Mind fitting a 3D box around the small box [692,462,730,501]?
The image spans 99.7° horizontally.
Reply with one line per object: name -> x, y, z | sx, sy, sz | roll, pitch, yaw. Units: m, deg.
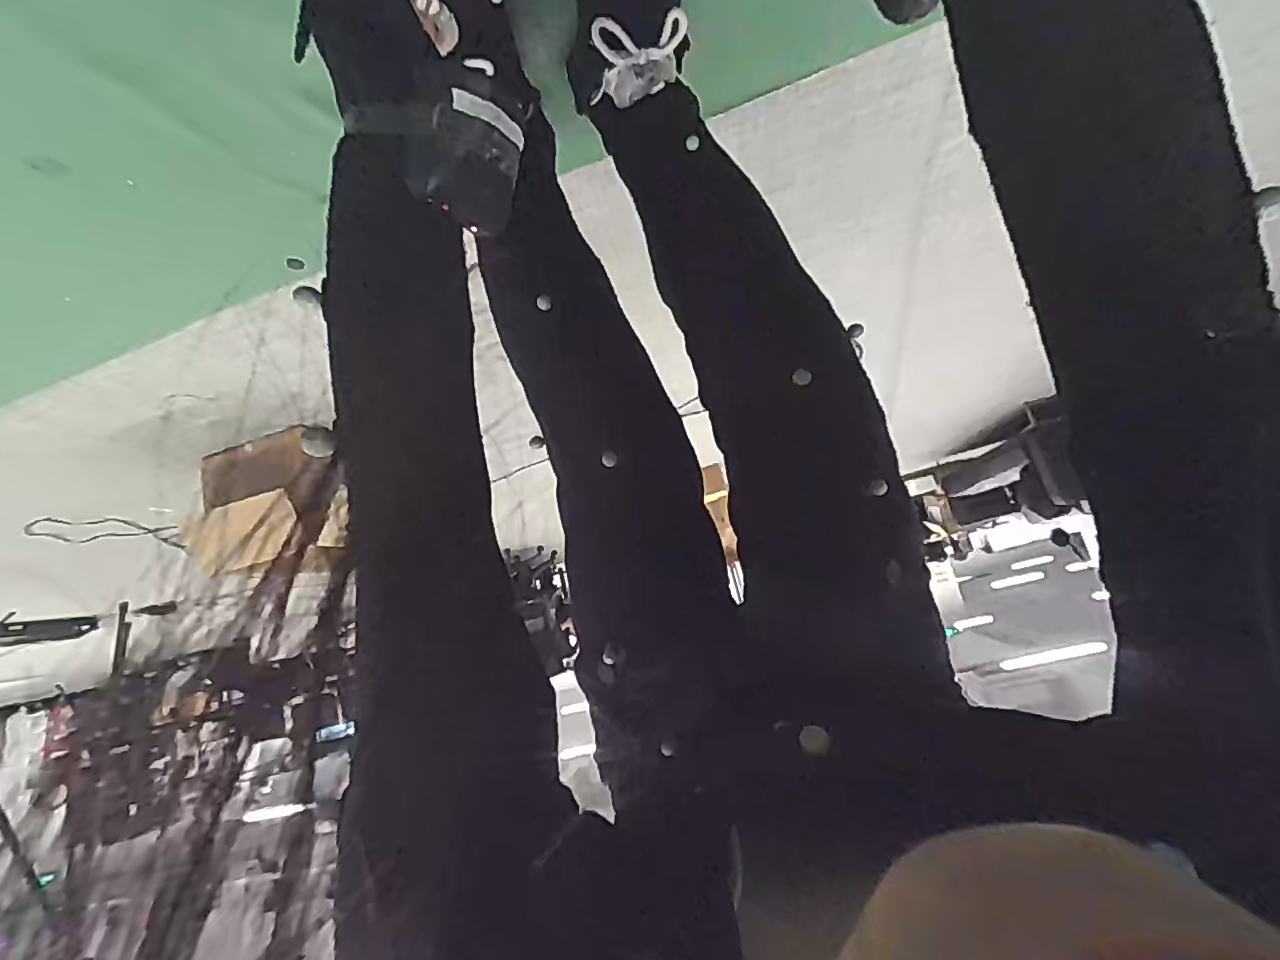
small box -> 0.403, 0.010, 3.087 | 0.179, 0.176, 0.168 | -18, 168, 12
